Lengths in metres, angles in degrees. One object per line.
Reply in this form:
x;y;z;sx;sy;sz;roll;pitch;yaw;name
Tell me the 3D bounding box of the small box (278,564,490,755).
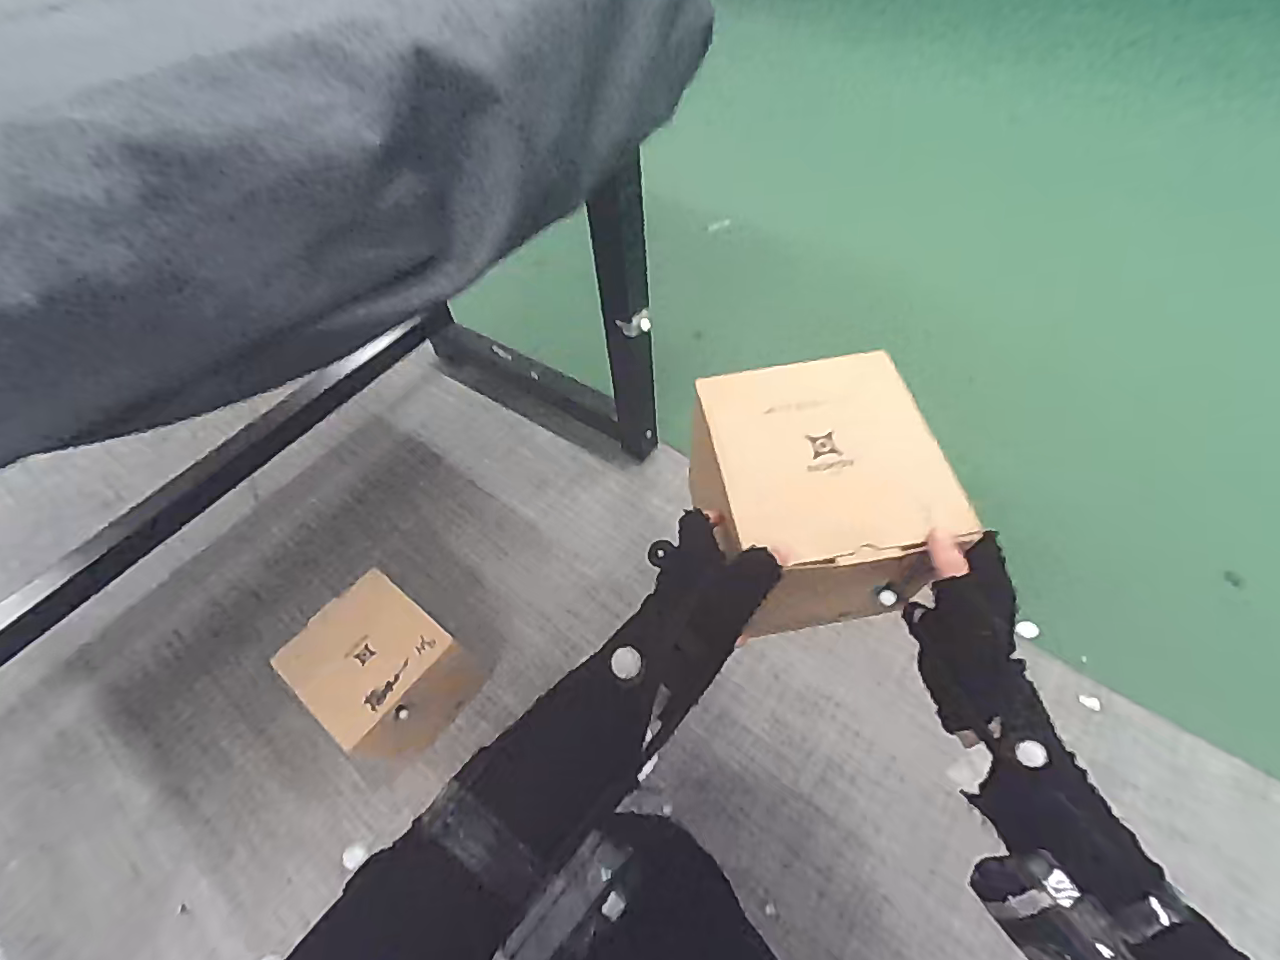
-0.345;0.256;0.758;0.179;0.176;0.168;30;64;24;small box
